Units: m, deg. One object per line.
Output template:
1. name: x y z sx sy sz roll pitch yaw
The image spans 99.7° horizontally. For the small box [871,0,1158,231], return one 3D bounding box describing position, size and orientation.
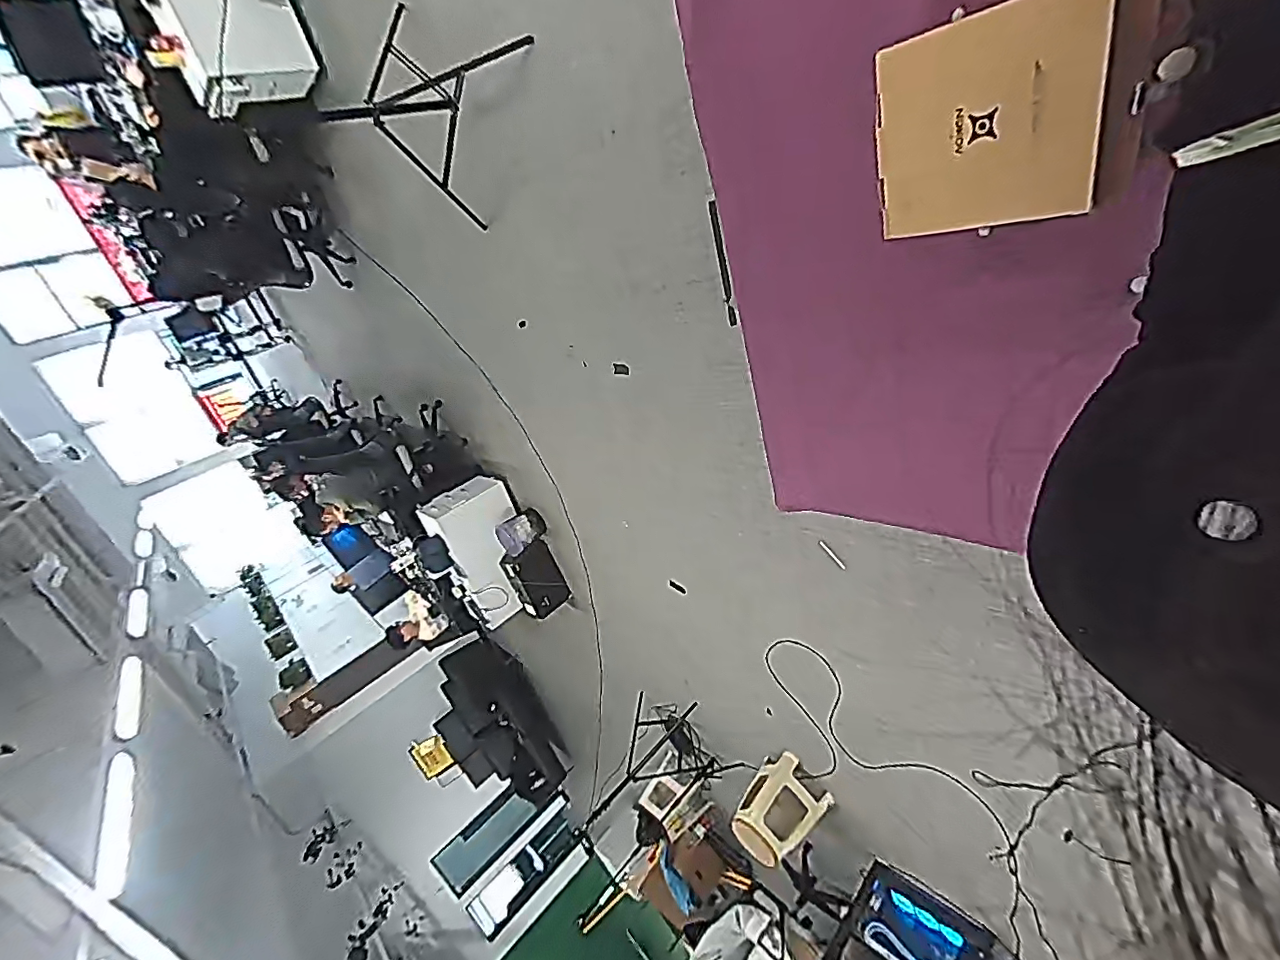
1. small box: 0.343 -0.350 0.508 0.179 0.176 0.168 14 131 46
